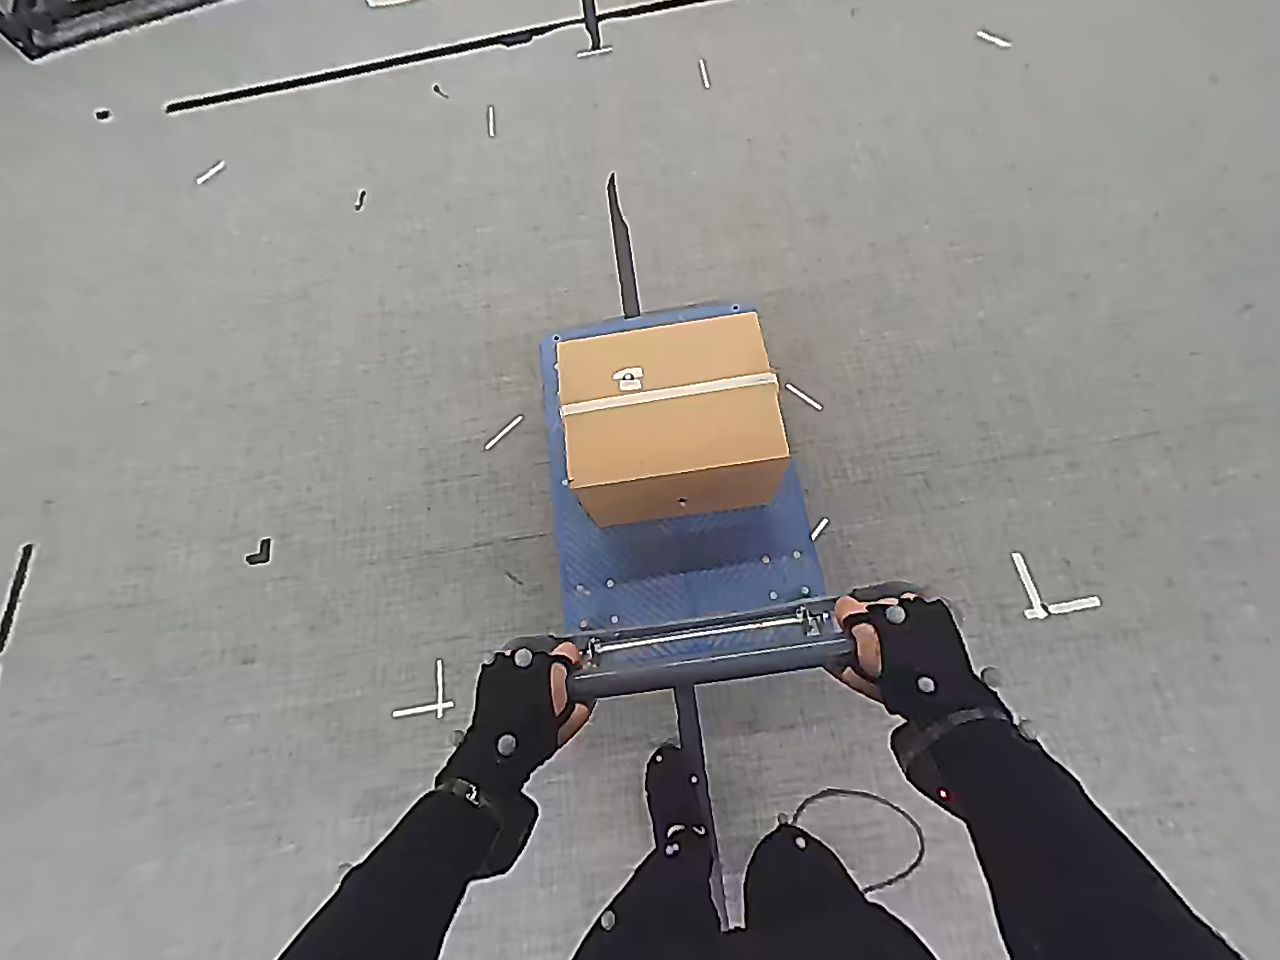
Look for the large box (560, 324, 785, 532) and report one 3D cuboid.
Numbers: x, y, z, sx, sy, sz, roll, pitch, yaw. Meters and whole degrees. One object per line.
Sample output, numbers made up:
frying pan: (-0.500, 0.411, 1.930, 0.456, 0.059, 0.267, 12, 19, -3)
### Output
large box: (0.068, -0.093, 1.189, 0.408, 0.320, 0.320, -9, 70, 3)
